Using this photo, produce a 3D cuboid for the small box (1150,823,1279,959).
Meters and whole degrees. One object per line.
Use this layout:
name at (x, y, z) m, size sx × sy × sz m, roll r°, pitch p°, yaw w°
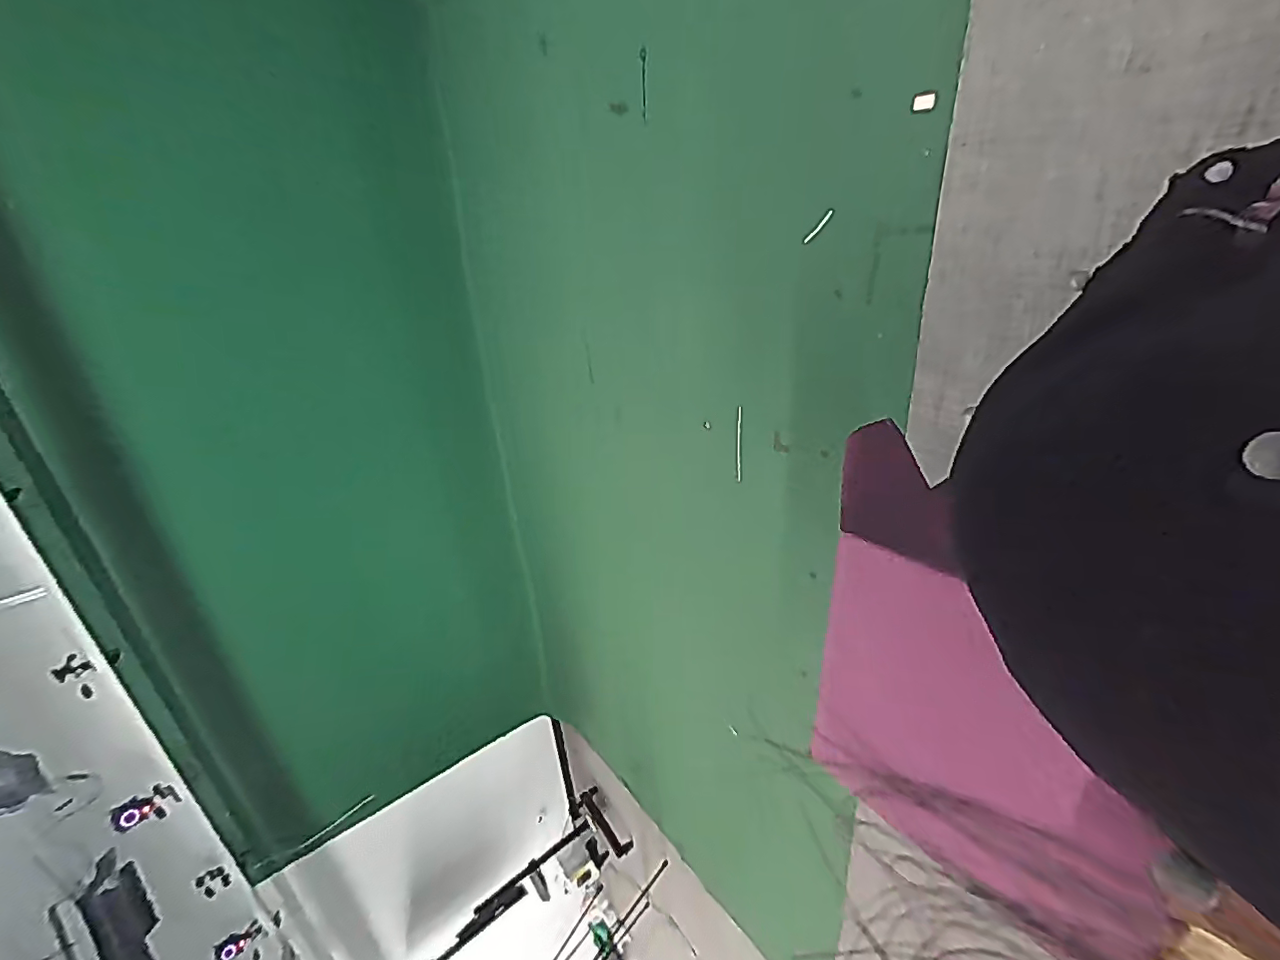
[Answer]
small box at (0.676, 0.515, 0.566) m, size 0.168 × 0.176 × 0.179 m, roll 29°, pitch 130°, yaw 46°
